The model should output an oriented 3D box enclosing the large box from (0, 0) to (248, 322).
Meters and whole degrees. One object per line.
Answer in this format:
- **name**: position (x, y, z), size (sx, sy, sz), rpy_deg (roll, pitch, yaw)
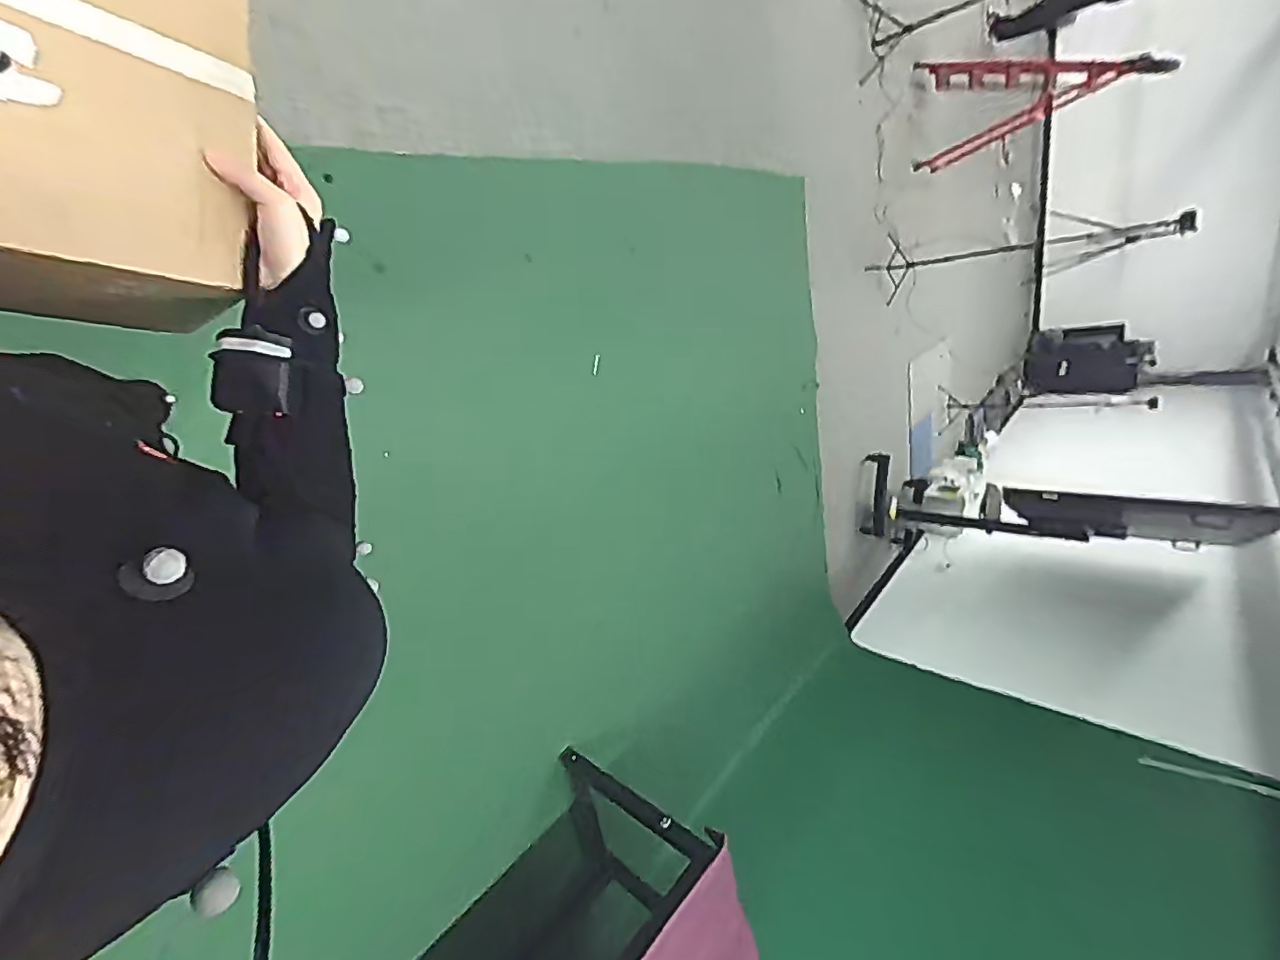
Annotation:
- **large box**: position (-0.564, -0.313, 0.379), size (0.408, 0.320, 0.320), rpy_deg (-4, 98, -48)
